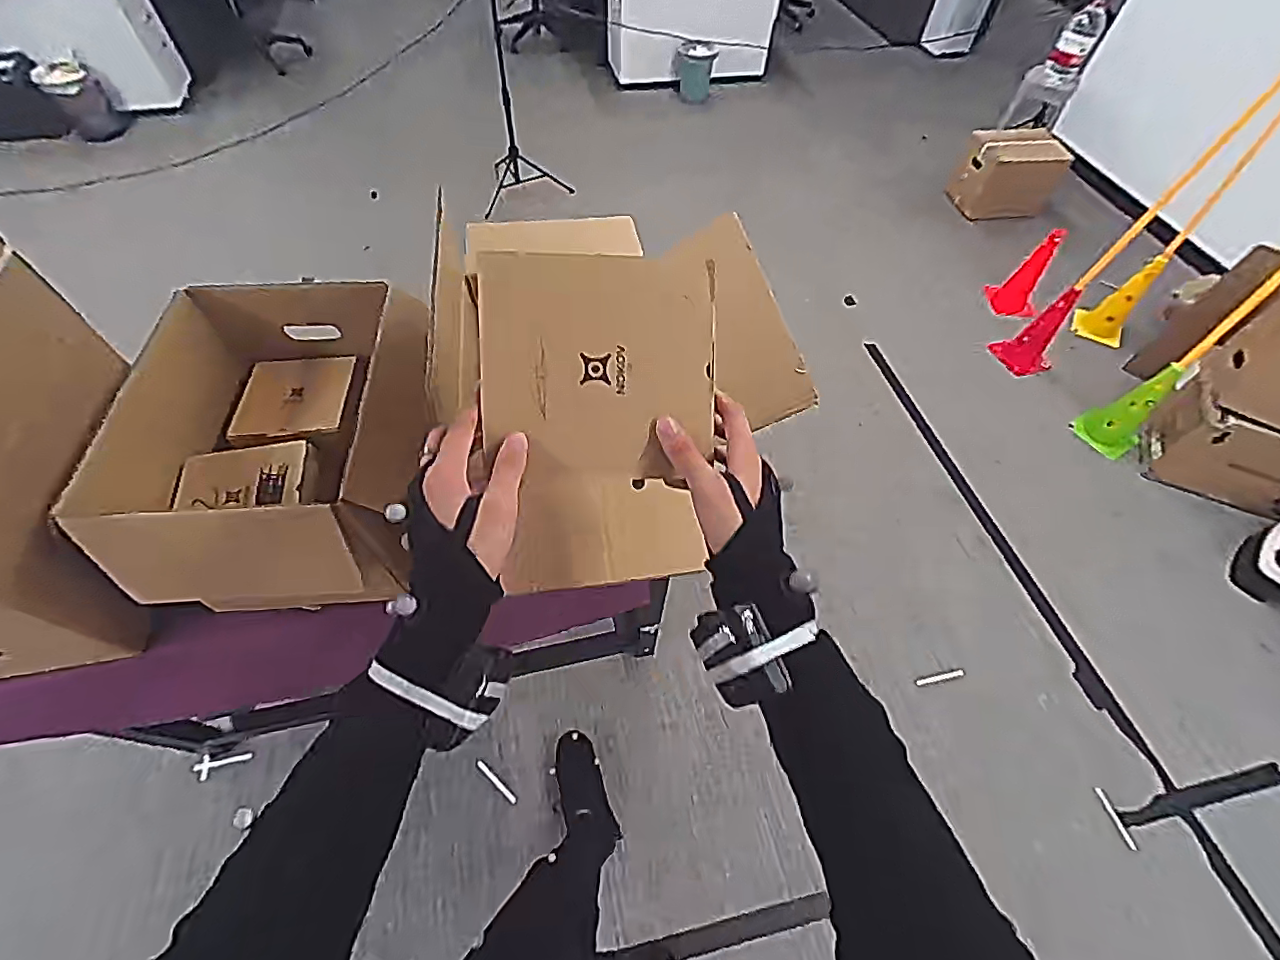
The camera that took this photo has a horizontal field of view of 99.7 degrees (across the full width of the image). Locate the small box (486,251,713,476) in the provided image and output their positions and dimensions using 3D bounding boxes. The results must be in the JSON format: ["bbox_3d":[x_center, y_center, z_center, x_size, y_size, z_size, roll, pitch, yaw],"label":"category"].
[{"bbox_3d":[-0.044,-0.090,0.492,0.179,0.176,0.168,0,93,-11],"label":"small box"}]
